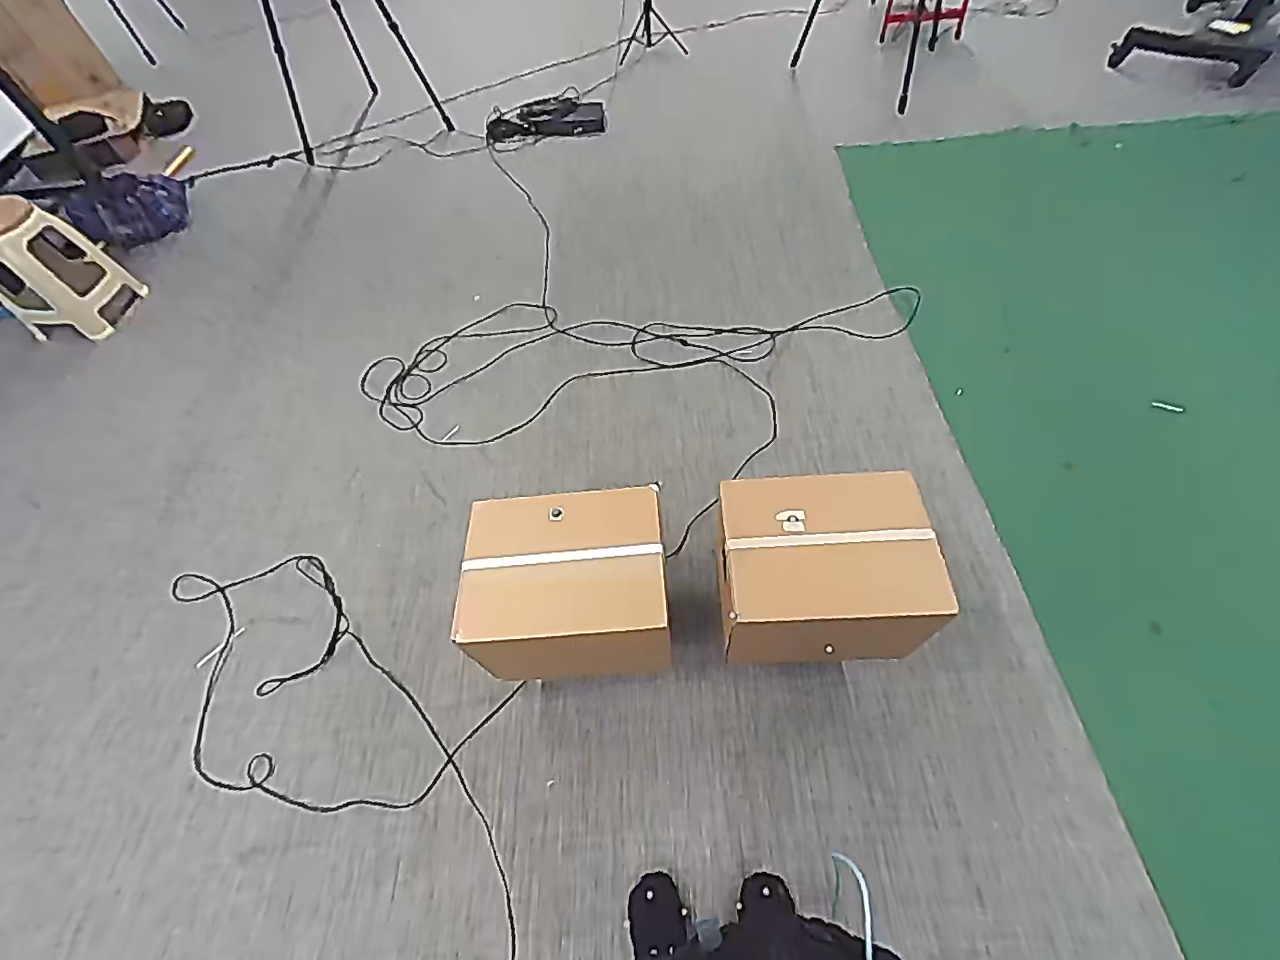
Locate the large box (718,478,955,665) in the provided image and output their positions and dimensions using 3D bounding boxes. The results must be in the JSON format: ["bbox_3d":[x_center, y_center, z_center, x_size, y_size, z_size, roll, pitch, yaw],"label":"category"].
[{"bbox_3d":[0.393,0.216,1.204,0.408,0.320,0.320,-3,57,4],"label":"large box"}]
